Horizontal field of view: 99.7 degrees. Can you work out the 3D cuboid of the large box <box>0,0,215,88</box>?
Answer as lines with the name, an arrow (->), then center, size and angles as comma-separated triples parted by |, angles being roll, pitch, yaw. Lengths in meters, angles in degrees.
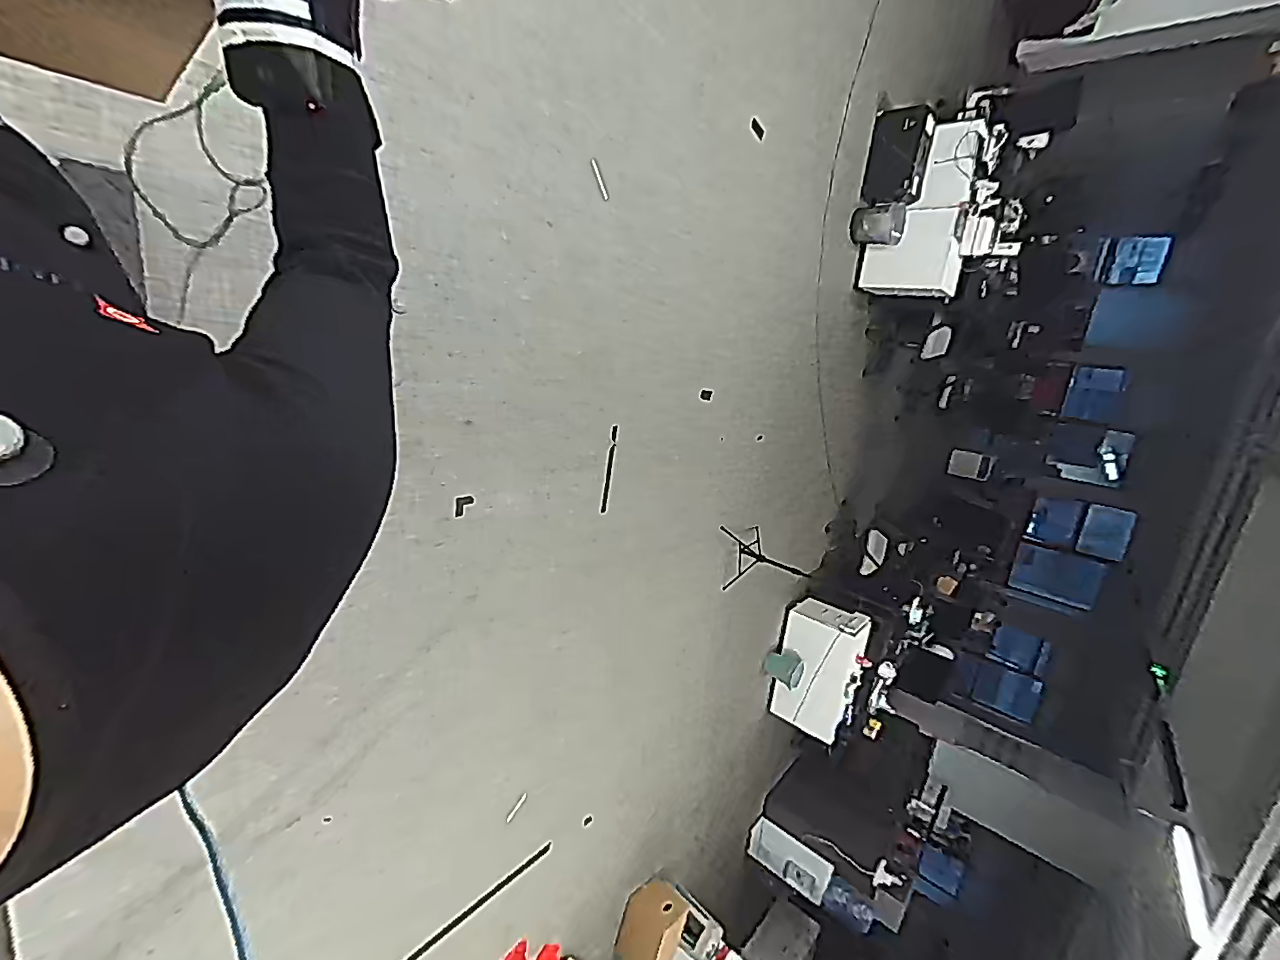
large box -> -0.472, -0.467, 0.245 | 0.408, 0.320, 0.320 | -13, 108, -49
